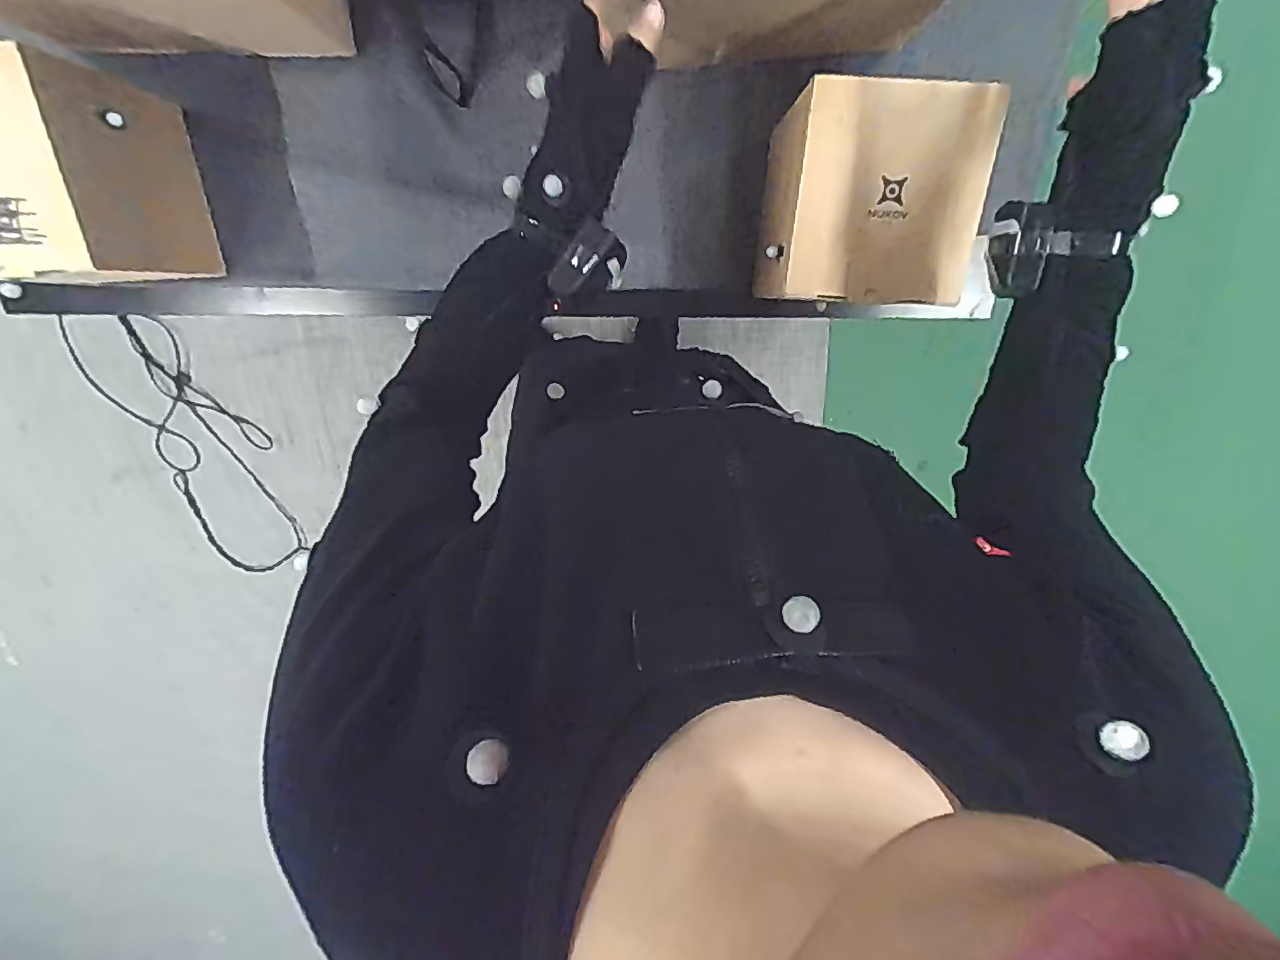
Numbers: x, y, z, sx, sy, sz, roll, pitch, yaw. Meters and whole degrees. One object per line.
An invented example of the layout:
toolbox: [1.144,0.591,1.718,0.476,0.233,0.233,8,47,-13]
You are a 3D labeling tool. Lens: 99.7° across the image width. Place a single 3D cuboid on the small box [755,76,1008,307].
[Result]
small box: [0.221,-0.274,0.550,0.168,0.176,0.179,3,111,-1]
